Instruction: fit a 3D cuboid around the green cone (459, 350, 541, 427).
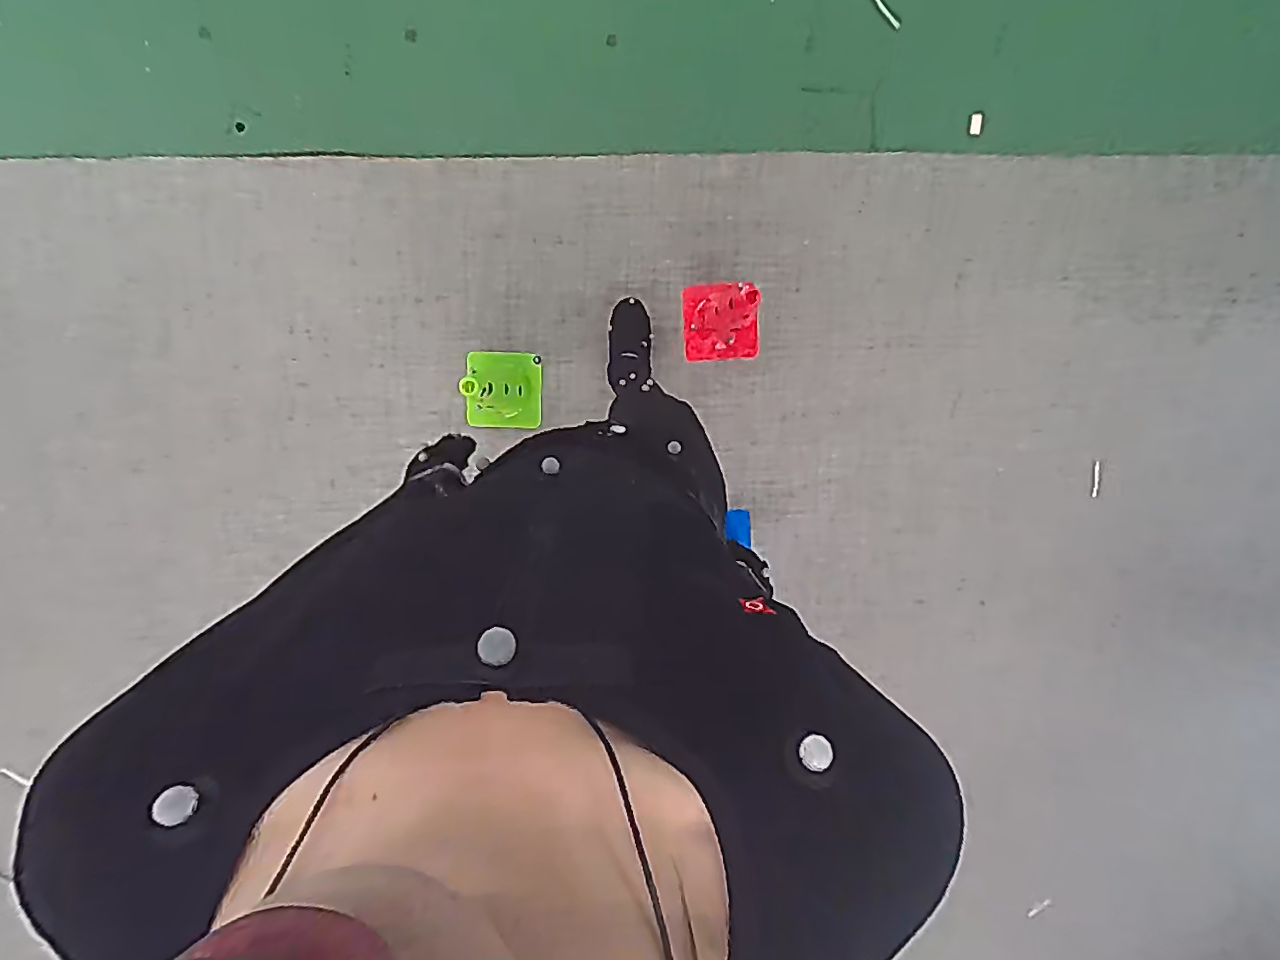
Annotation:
[{"bbox_3d":[-0.360,-0.216,1.279,0.200,0.368,0.202,1,99,-2],"label":"green cone"}]
